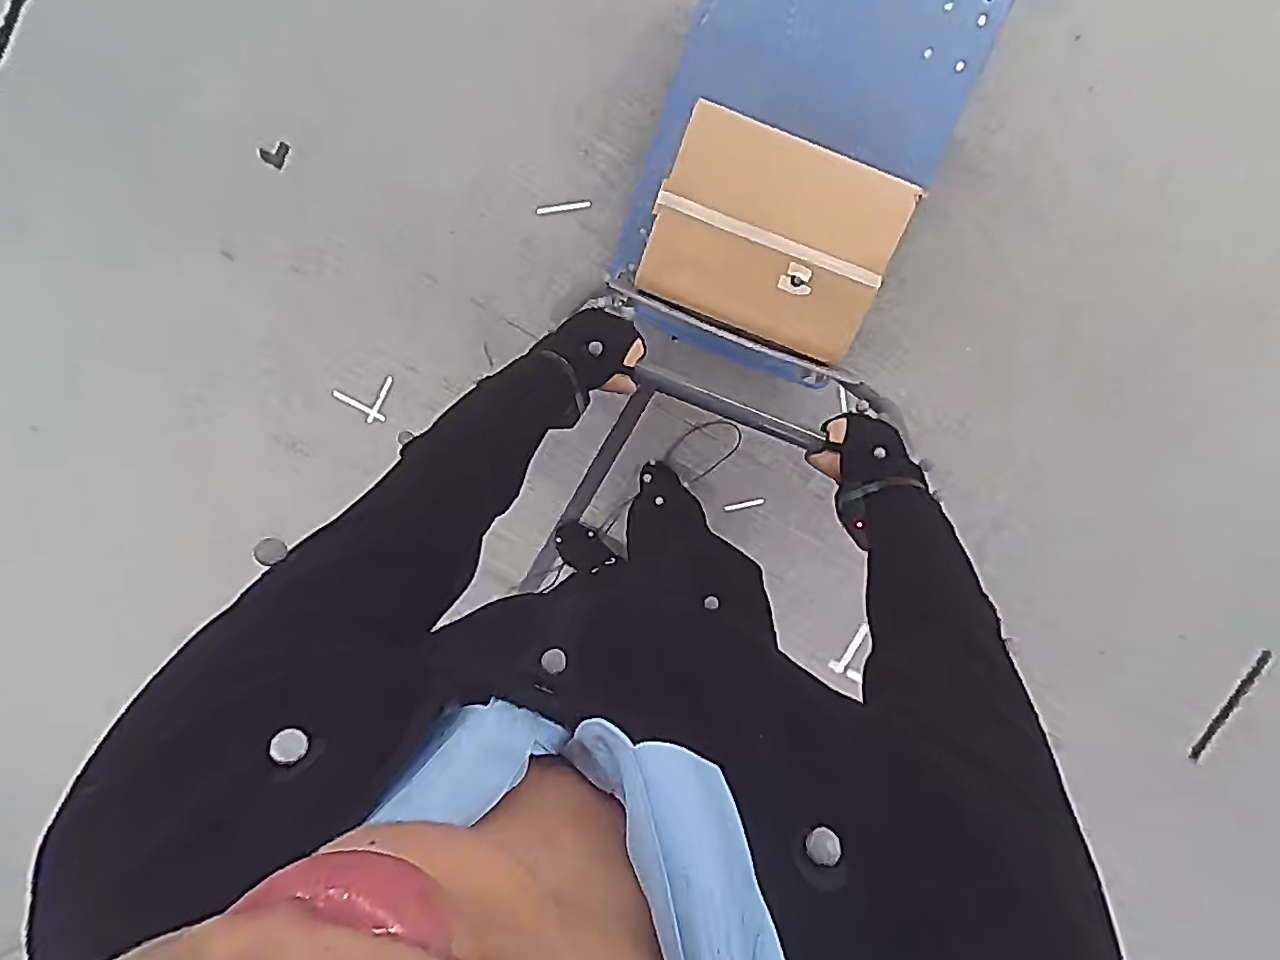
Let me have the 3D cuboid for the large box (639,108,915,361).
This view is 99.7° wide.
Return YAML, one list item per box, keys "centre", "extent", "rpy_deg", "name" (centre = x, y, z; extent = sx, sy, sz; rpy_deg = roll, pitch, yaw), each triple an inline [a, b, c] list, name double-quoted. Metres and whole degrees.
- centre: [0.240, -0.464, 1.093]
  extent: [0.408, 0.320, 0.320]
  rpy_deg: [21, 108, -3]
  name: "large box"
